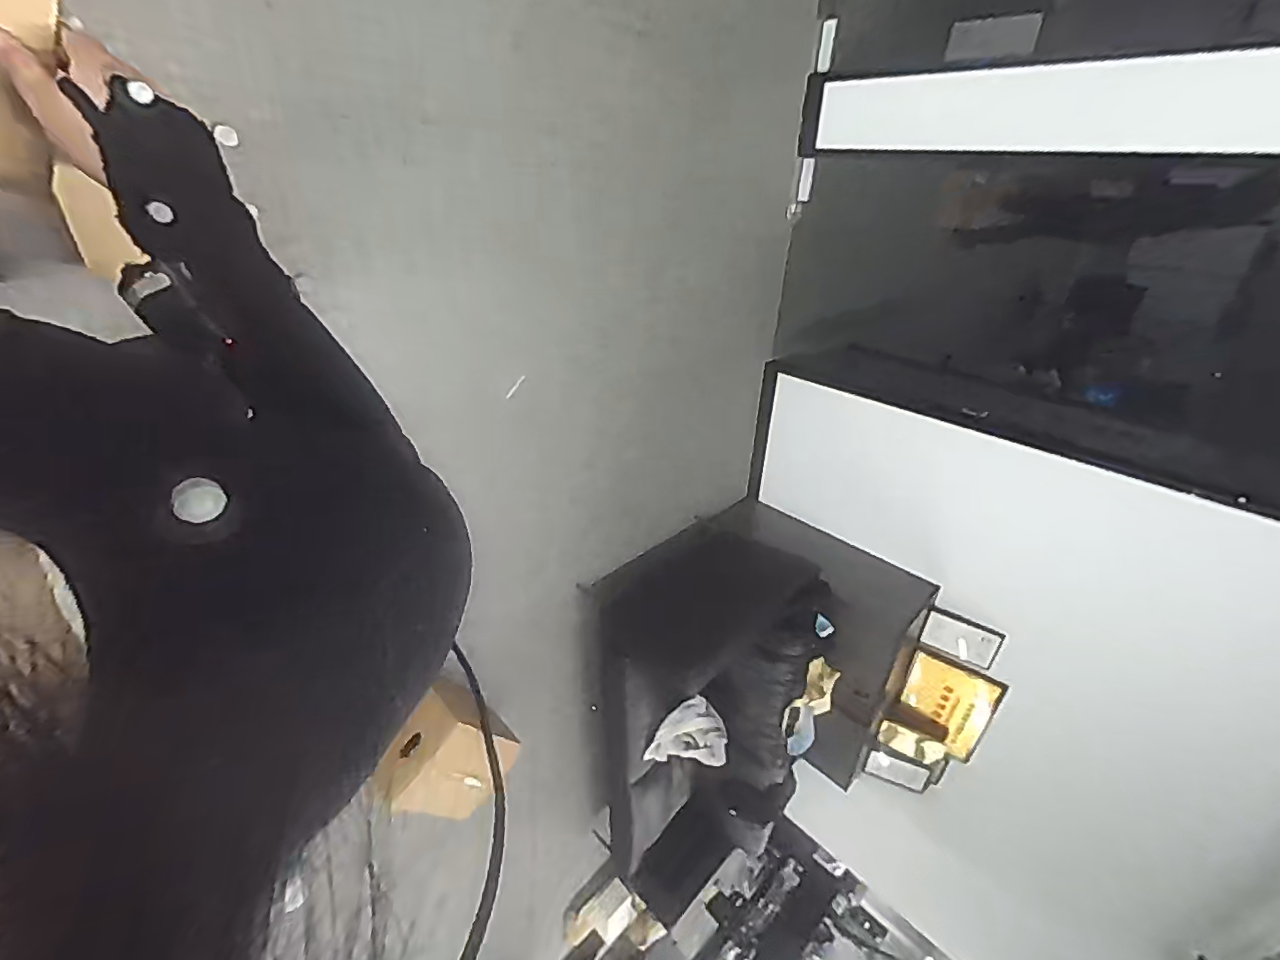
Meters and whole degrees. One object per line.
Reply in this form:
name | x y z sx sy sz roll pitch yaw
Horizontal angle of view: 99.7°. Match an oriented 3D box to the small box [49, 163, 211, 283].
small box | -0.901 -0.454 0.951 0.168 0.176 0.179 -25 129 -38
